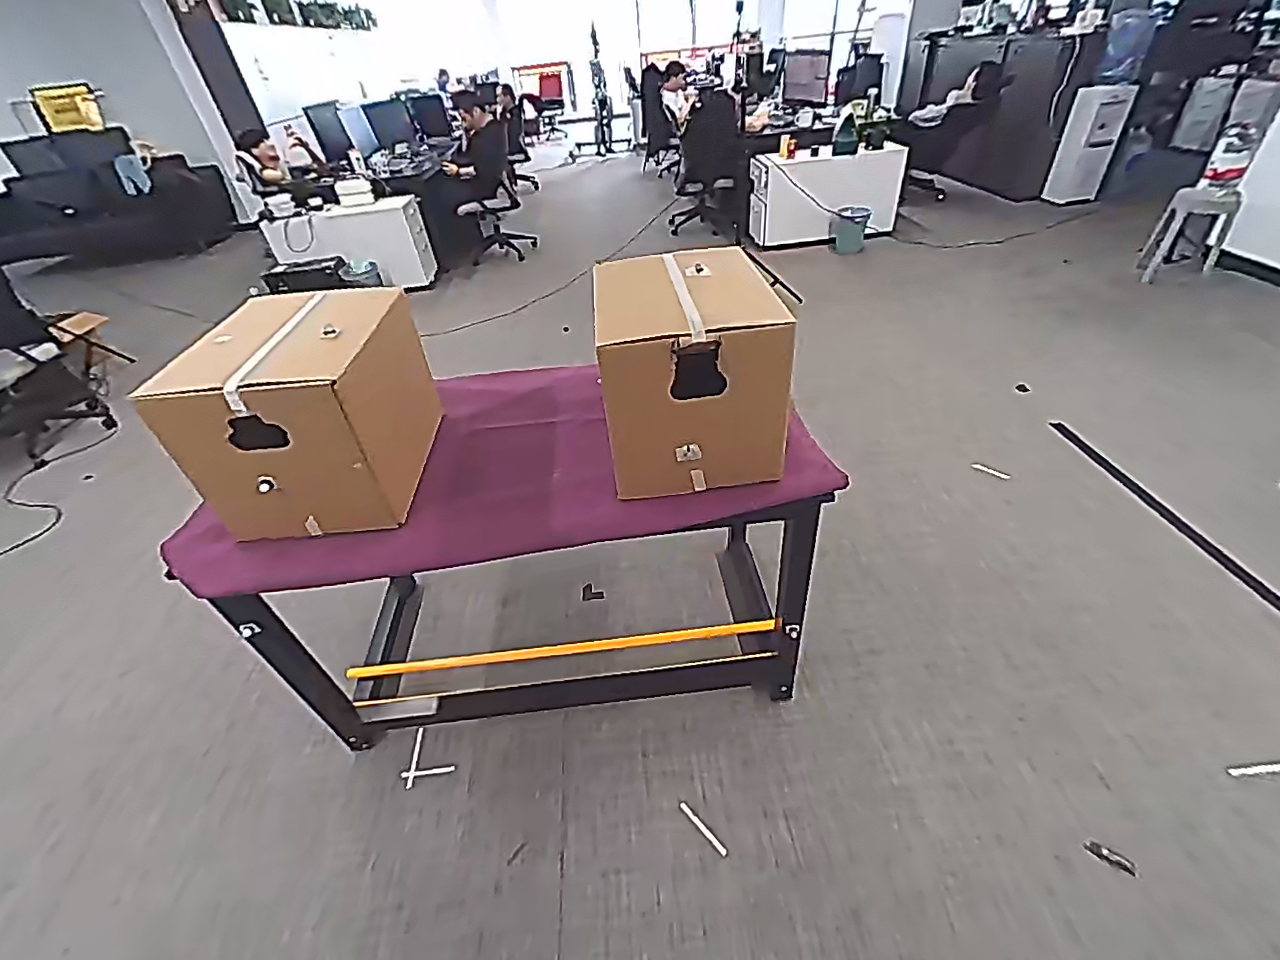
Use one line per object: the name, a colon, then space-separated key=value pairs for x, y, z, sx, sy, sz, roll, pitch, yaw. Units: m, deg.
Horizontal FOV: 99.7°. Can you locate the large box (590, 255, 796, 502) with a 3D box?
large box: x=0.083 y=-0.212 z=1.059 sx=0.320 sy=0.320 sz=0.408 roll=-7 pitch=38 yaw=-1
